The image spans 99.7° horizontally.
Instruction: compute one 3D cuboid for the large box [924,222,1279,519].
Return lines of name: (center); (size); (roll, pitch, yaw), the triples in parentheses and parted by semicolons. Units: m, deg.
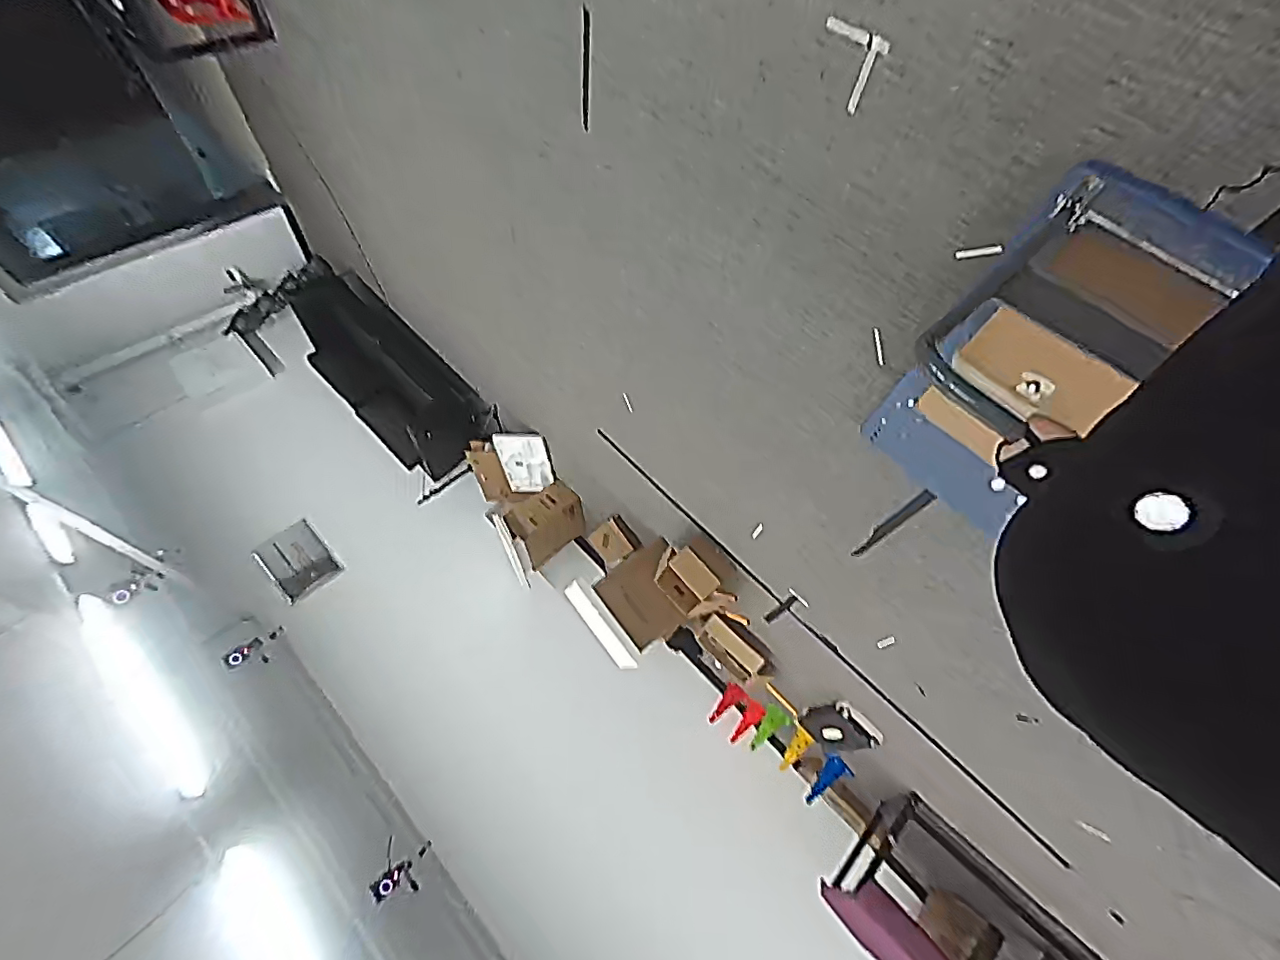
large box: (0.869, -0.208, 1.036); (0.408, 0.320, 0.320); (44, 154, 17)
